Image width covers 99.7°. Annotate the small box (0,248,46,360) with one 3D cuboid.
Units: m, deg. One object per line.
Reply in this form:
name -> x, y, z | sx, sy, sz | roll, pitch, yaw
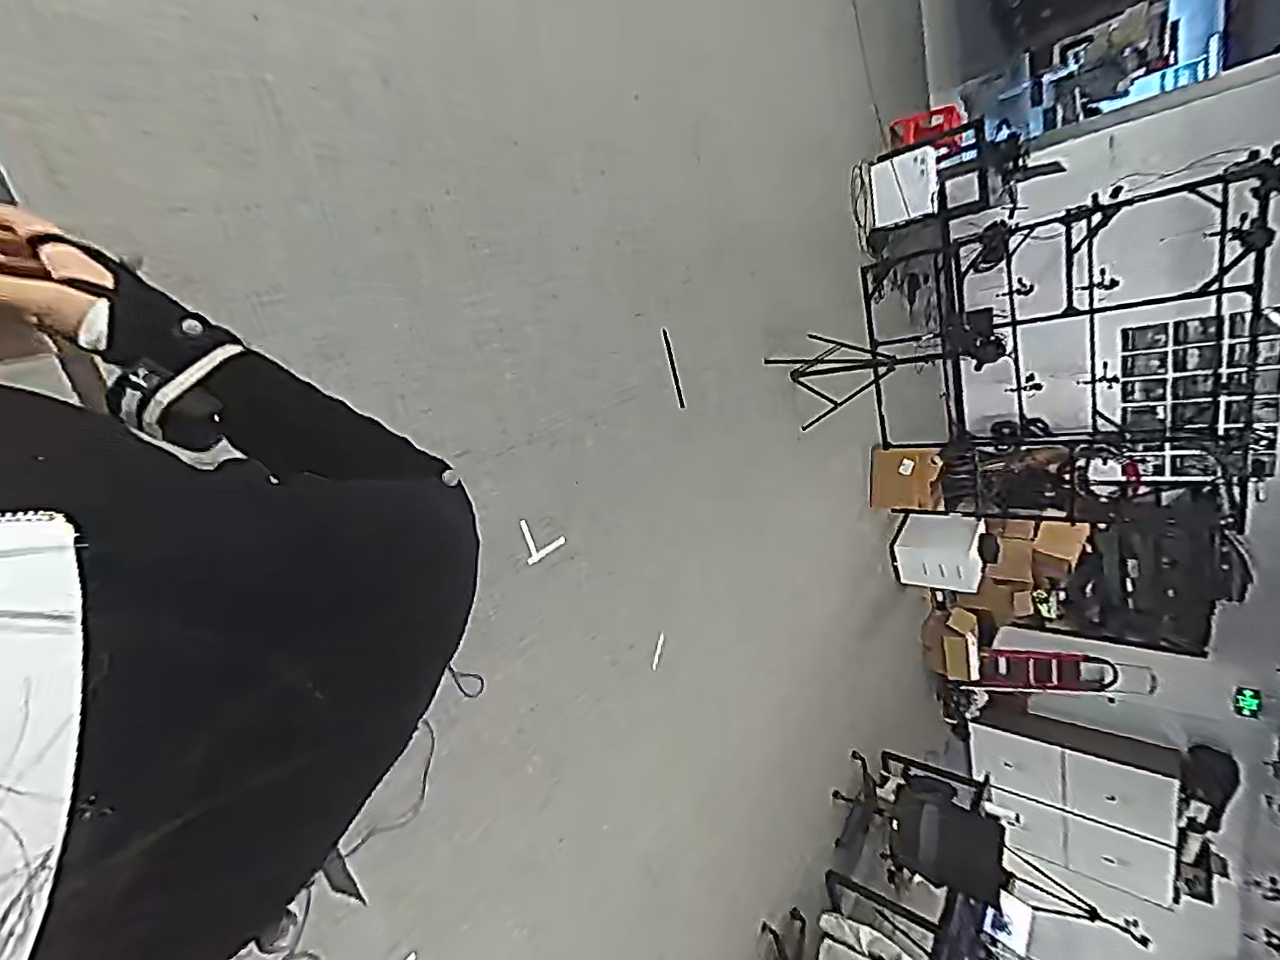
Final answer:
small box -> -0.560, -0.168, 0.357 | 0.168, 0.176, 0.179 | -29, 108, -36
